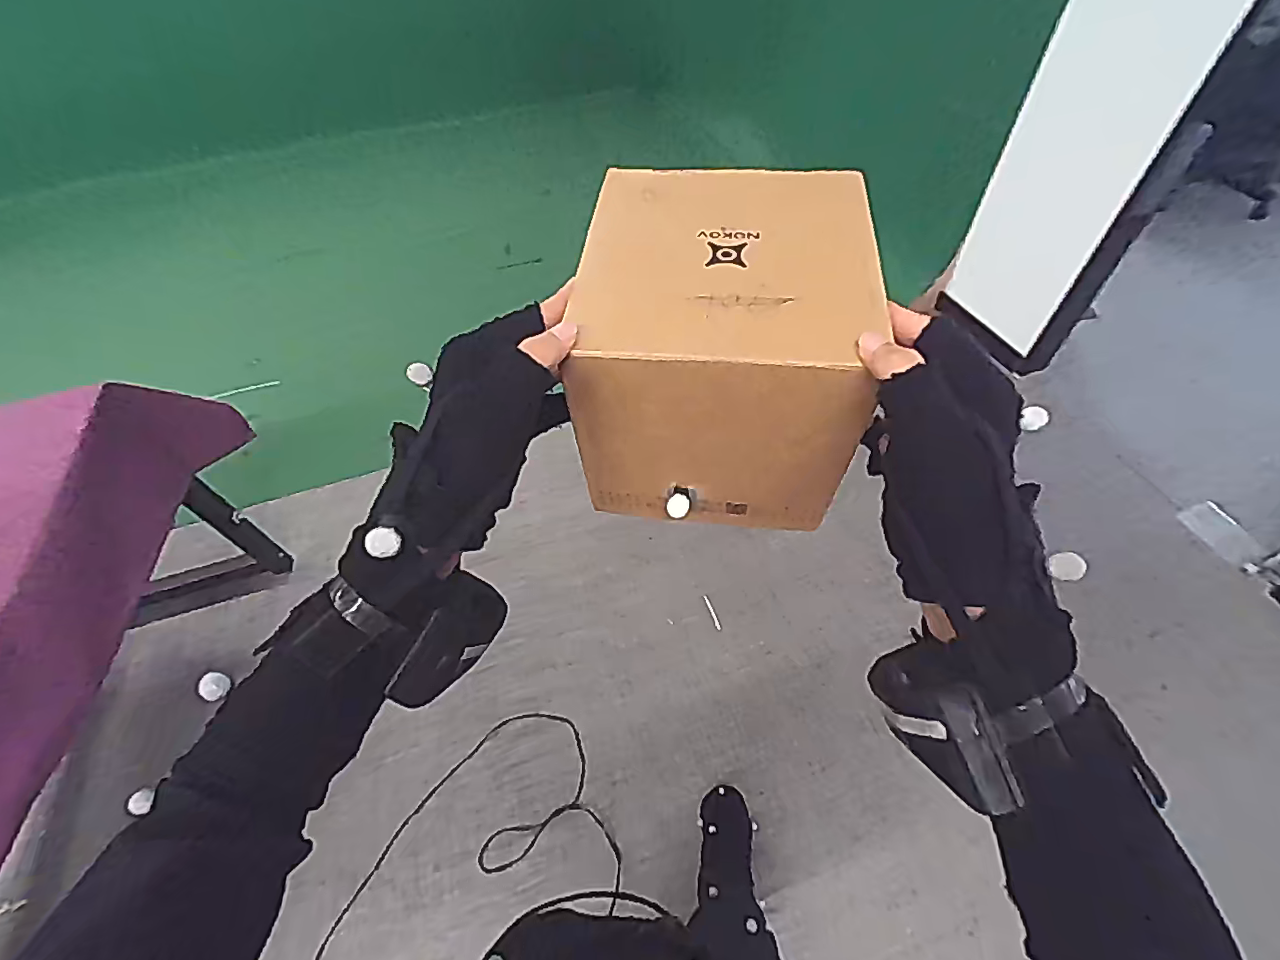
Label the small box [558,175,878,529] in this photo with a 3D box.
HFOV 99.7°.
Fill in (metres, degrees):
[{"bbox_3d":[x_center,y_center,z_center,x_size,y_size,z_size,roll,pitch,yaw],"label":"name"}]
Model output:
[{"bbox_3d":[0.051,-0.087,0.385,0.168,0.176,0.179,4,57,7],"label":"small box"}]
